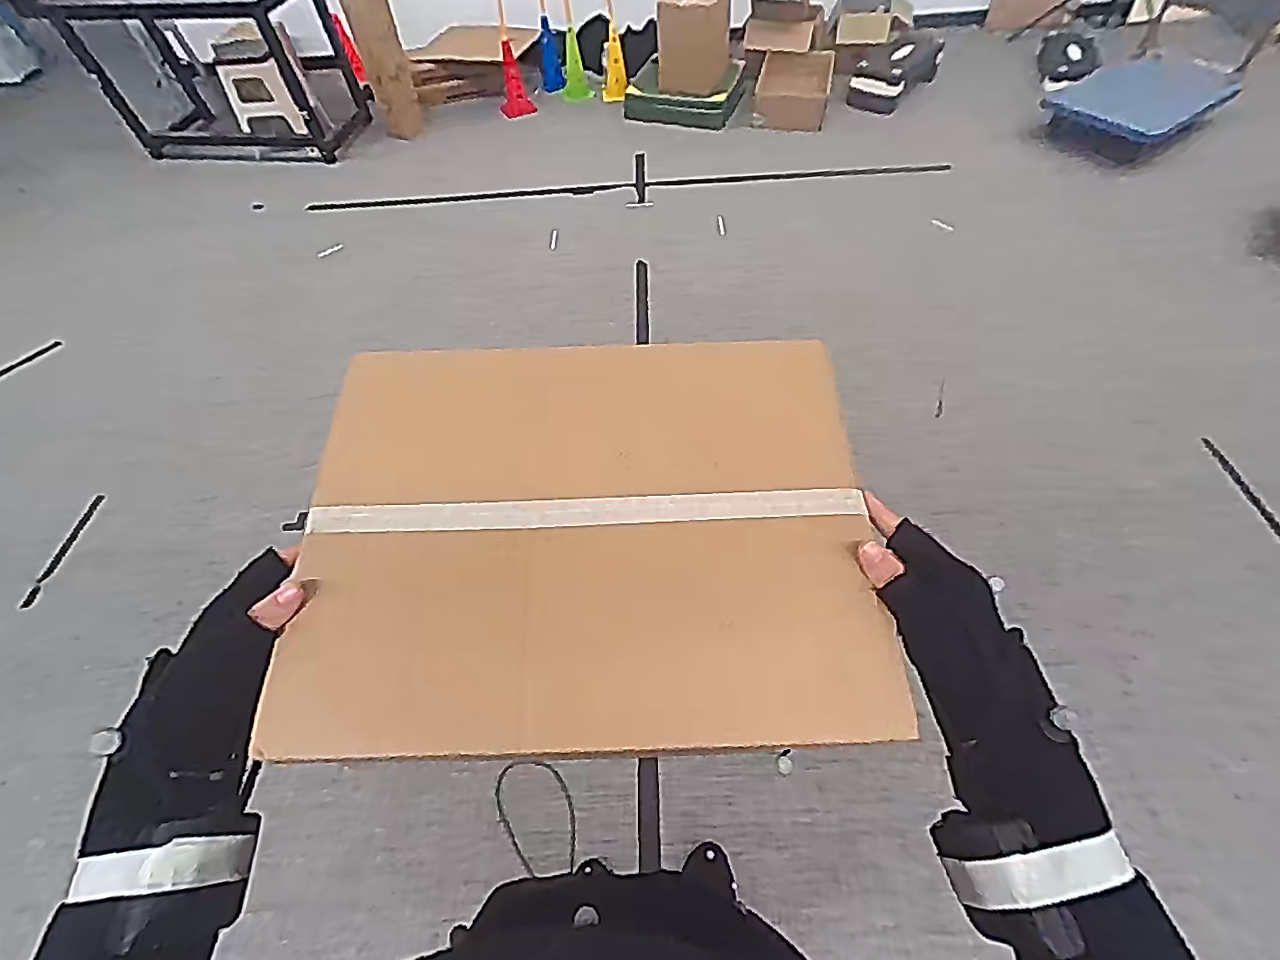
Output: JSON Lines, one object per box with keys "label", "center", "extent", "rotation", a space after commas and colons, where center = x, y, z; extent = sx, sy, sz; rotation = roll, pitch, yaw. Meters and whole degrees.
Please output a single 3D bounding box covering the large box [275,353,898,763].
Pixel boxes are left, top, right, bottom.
{"label": "large box", "center": [-0.035, 0.097, 0.539], "extent": [0.408, 0.320, 0.320], "rotation": [-1, 63, -1]}
